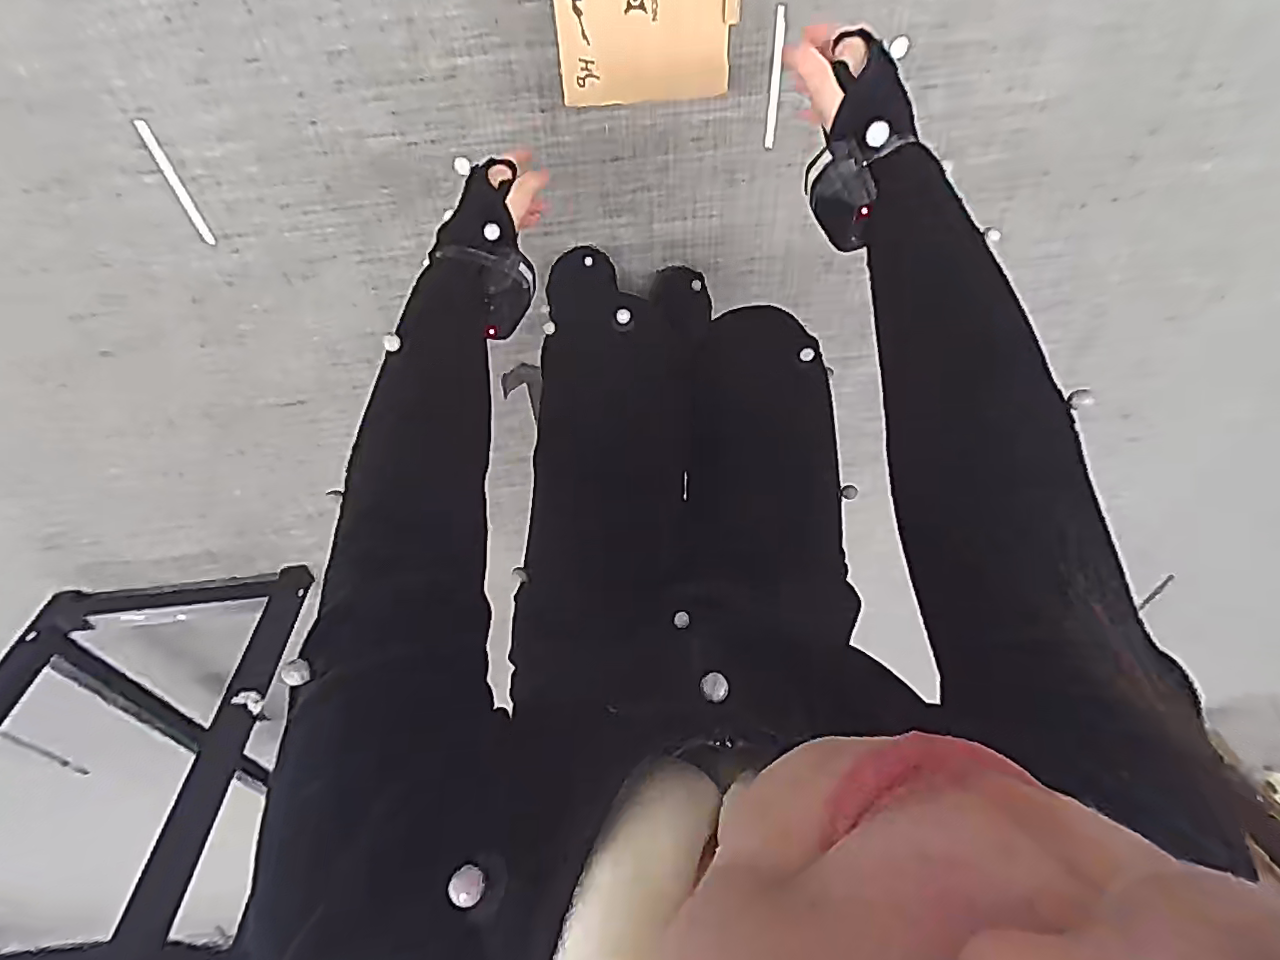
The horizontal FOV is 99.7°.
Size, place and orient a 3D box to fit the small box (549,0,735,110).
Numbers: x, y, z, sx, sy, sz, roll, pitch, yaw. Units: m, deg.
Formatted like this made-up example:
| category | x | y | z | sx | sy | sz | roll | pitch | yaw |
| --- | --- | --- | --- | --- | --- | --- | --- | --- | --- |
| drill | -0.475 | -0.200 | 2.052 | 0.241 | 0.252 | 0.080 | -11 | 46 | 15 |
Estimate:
| category | x | y | z | sx | sy | sz | roll | pitch | yaw |
| --- | --- | --- | --- | --- | --- | --- | --- | --- | --- |
| small box | -0.006 | -0.503 | 0.561 | 0.179 | 0.176 | 0.168 | -6 | 134 | -4 |
